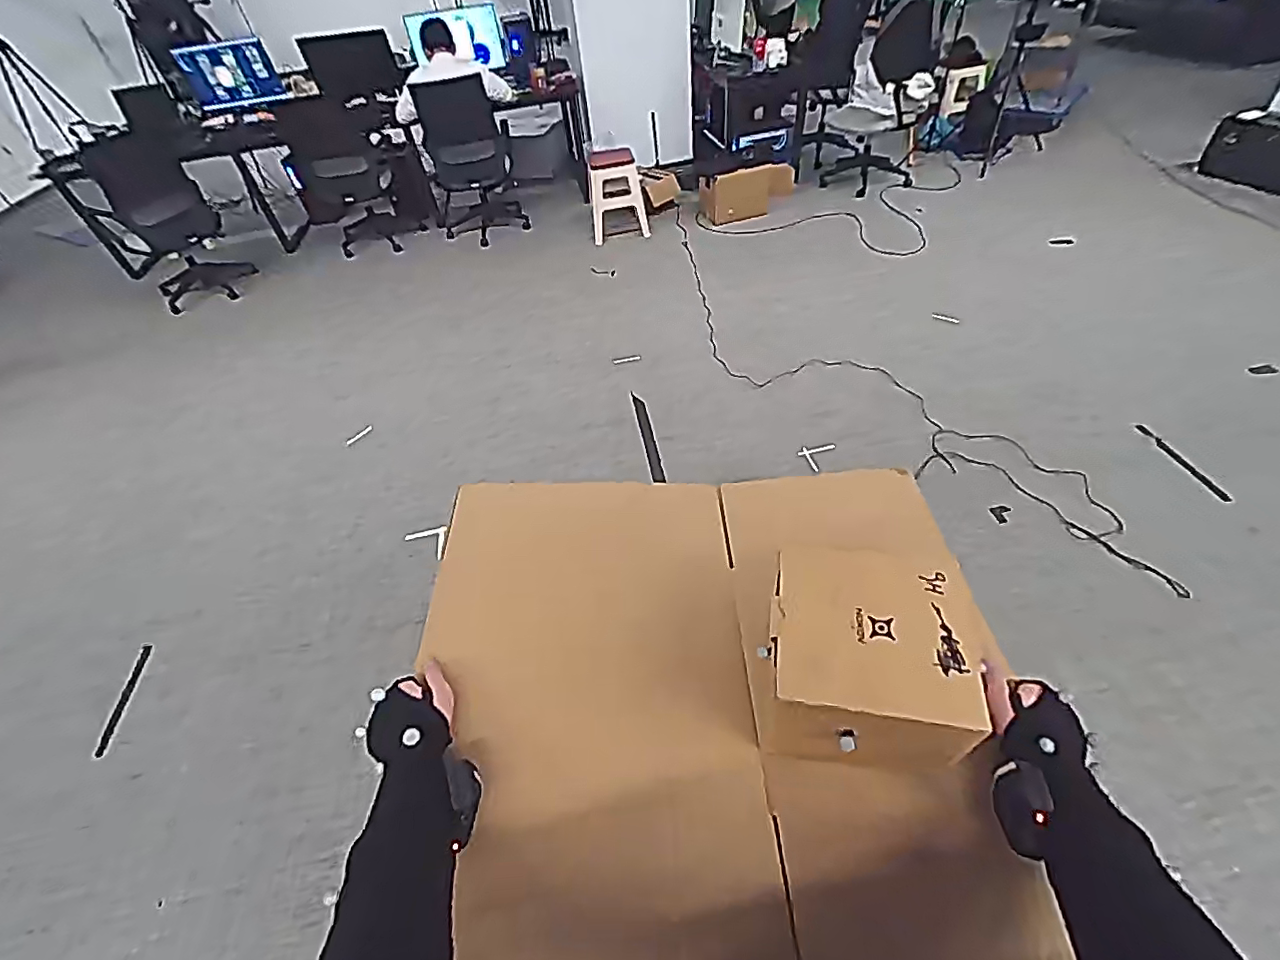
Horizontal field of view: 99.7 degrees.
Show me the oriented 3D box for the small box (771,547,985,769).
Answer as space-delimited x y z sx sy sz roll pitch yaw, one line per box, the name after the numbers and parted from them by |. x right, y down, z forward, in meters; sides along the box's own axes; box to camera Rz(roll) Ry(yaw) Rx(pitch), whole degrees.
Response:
0.233 0.191 0.578 0.179 0.176 0.168 3 50 14 | small box
